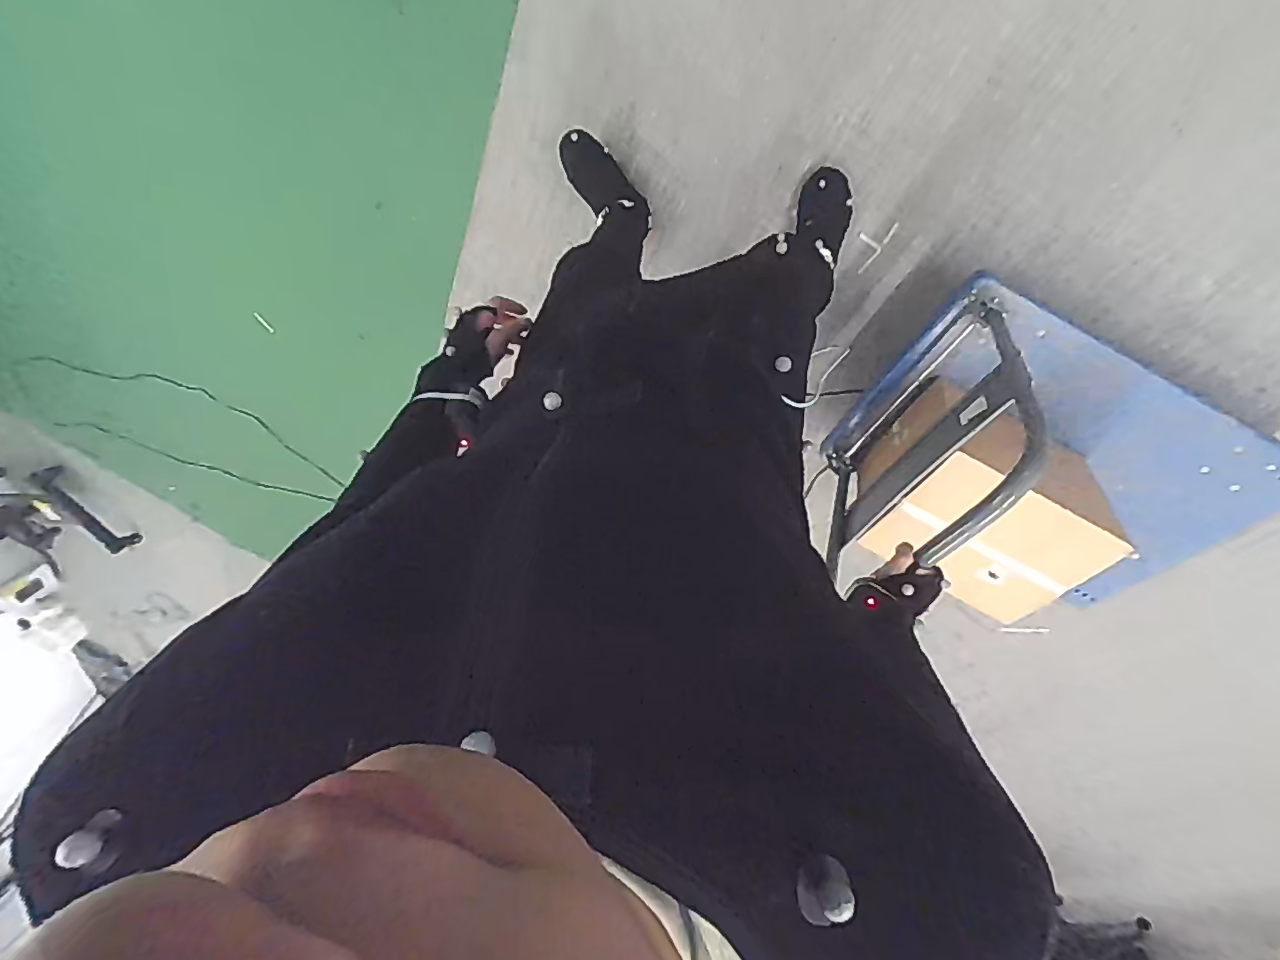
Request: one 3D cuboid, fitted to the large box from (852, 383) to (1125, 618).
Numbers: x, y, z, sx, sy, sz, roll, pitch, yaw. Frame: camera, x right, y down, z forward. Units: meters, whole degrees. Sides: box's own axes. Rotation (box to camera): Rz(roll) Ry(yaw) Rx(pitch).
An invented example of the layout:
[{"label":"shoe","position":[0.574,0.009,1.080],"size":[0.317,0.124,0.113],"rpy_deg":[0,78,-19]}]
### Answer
[{"label":"large box","position":[0.759,0.041,1.259],"size":[0.408,0.320,0.320],"rpy_deg":[28,132,-2]}]
